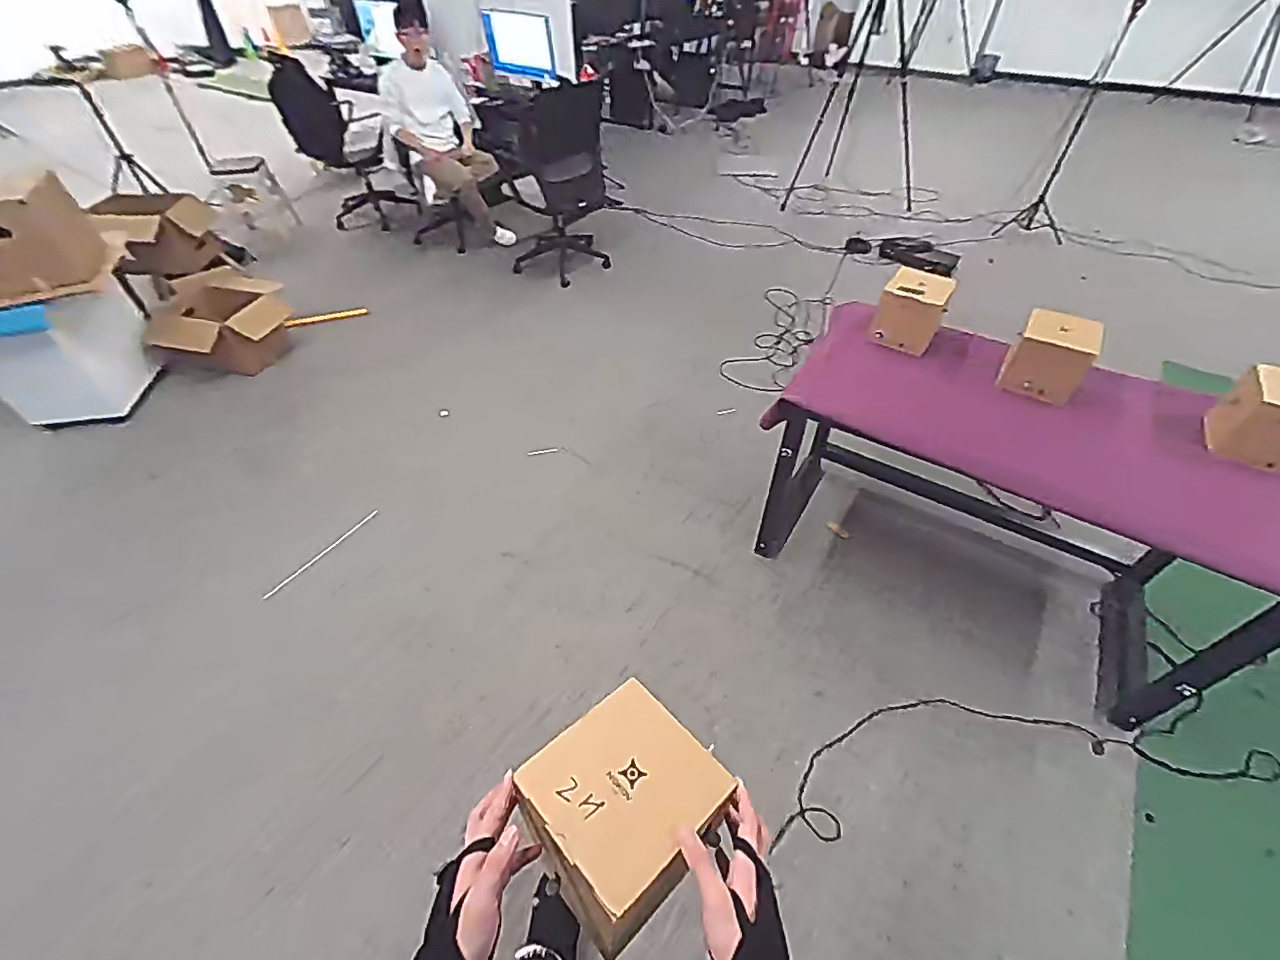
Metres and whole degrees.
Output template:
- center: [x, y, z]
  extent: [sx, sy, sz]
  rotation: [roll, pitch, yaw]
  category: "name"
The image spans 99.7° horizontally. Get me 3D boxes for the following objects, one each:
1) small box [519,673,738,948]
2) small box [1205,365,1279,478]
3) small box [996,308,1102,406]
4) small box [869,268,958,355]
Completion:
- center: [-0.018, 0.367, 0.614]
  extent: [0.179, 0.176, 0.168]
  rotation: [-27, 47, -34]
  category: "small box"
- center: [1.476, -0.135, 1.257]
  extent: [0.168, 0.176, 0.179]
  rotation: [24, 51, 23]
  category: "small box"
- center: [1.090, -0.329, 1.449]
  extent: [0.168, 0.176, 0.179]
  rotation: [26, 52, 24]
  category: "small box"
- center: [0.806, -0.499, 1.608]
  extent: [0.168, 0.176, 0.179]
  rotation: [28, 53, 24]
  category: "small box"
